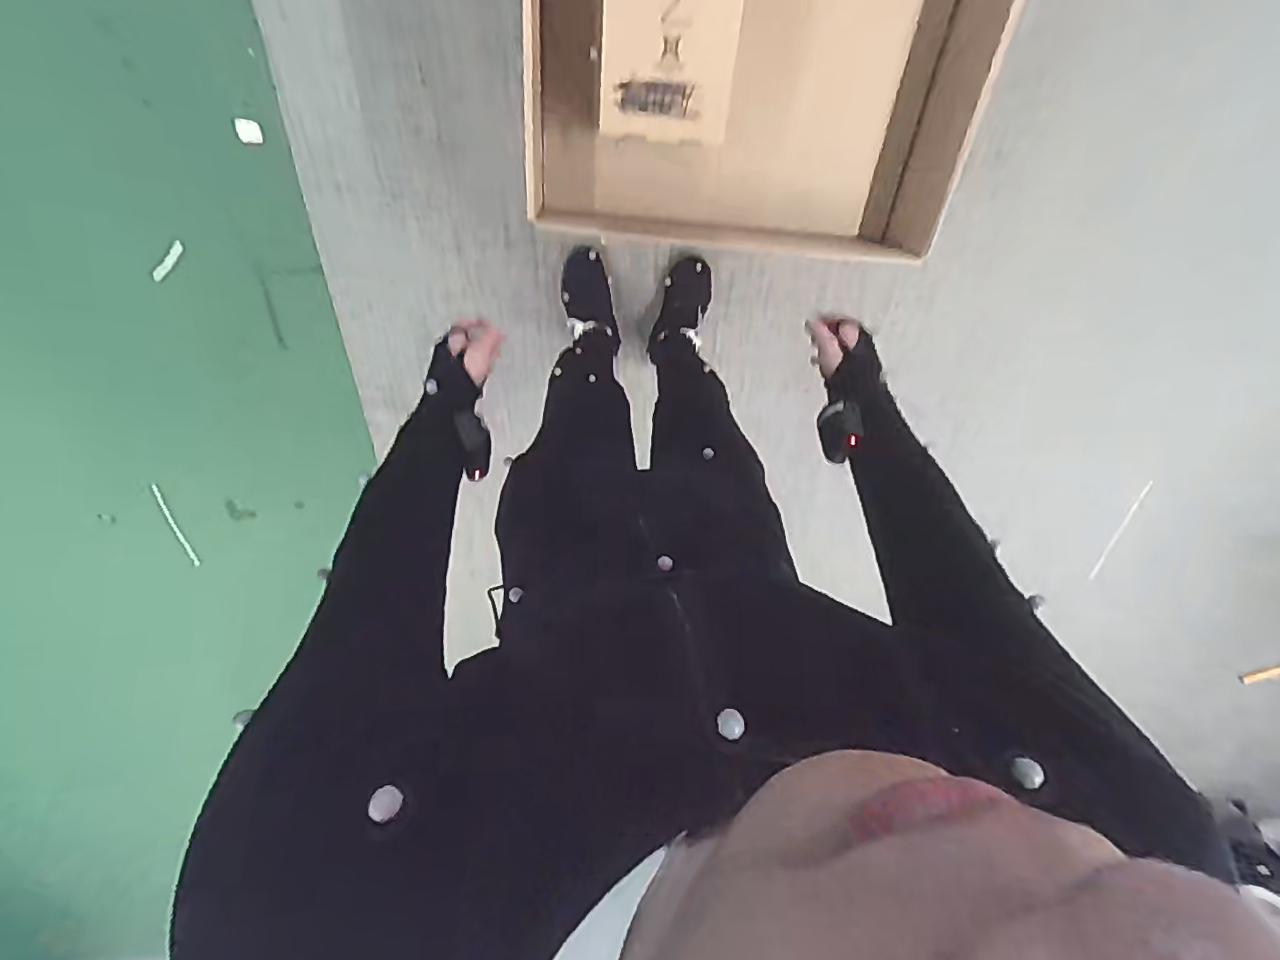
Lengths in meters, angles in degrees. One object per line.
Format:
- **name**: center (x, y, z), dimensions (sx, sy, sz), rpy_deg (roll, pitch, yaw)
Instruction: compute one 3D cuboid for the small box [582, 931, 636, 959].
- **small box**: center (-0.093, 1.547, 1.691), dimensions (0.168, 0.176, 0.179), rpy_deg (-4, 123, -2)
